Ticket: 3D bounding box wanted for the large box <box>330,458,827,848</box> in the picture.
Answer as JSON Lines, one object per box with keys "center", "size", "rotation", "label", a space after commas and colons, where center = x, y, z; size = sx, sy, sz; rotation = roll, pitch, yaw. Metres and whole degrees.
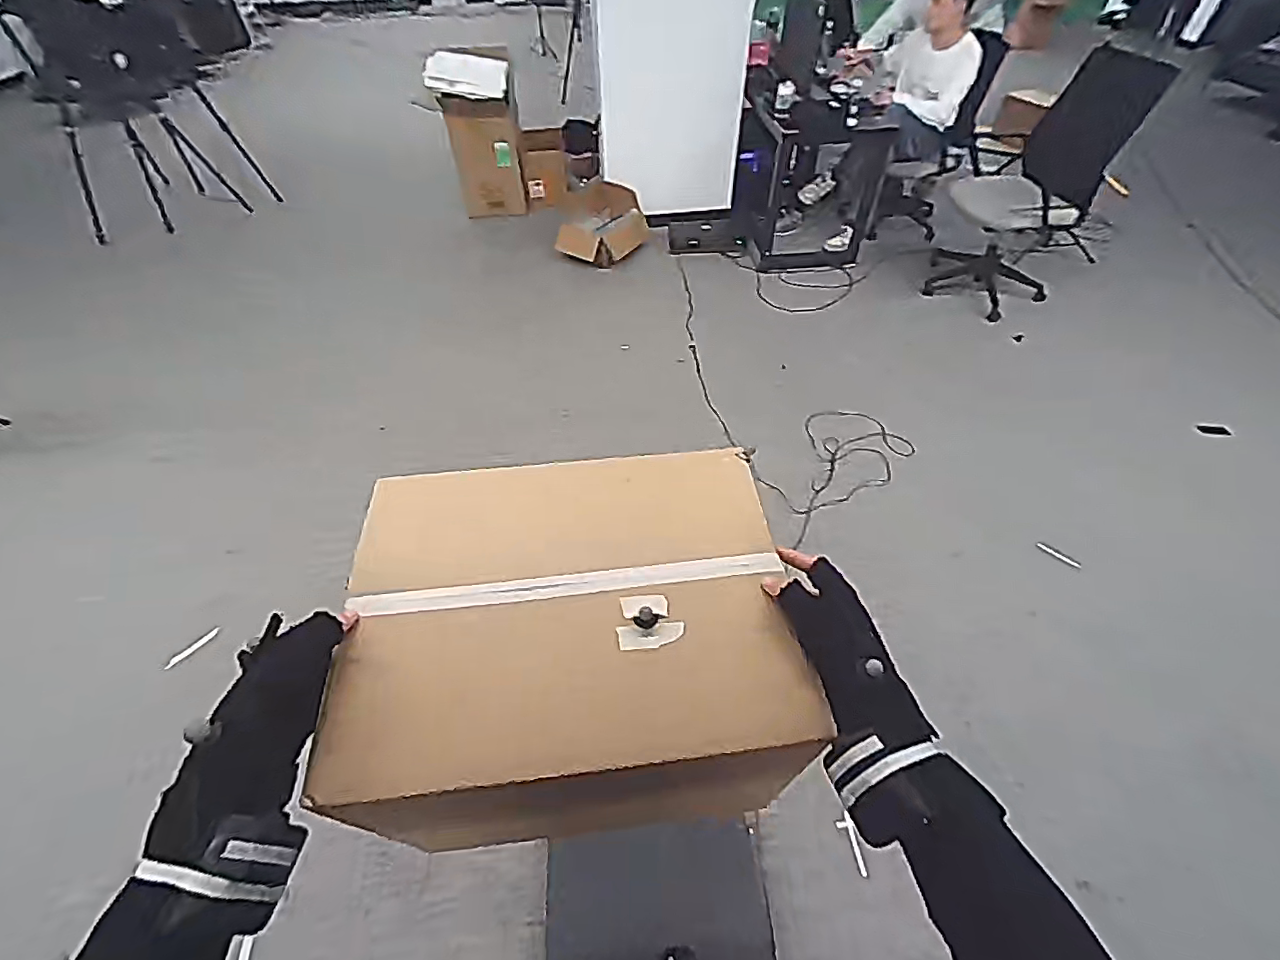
{"center": [-0.062, 0.203, 0.633], "size": [0.408, 0.320, 0.320], "rotation": [-4, 51, -5], "label": "large box"}
